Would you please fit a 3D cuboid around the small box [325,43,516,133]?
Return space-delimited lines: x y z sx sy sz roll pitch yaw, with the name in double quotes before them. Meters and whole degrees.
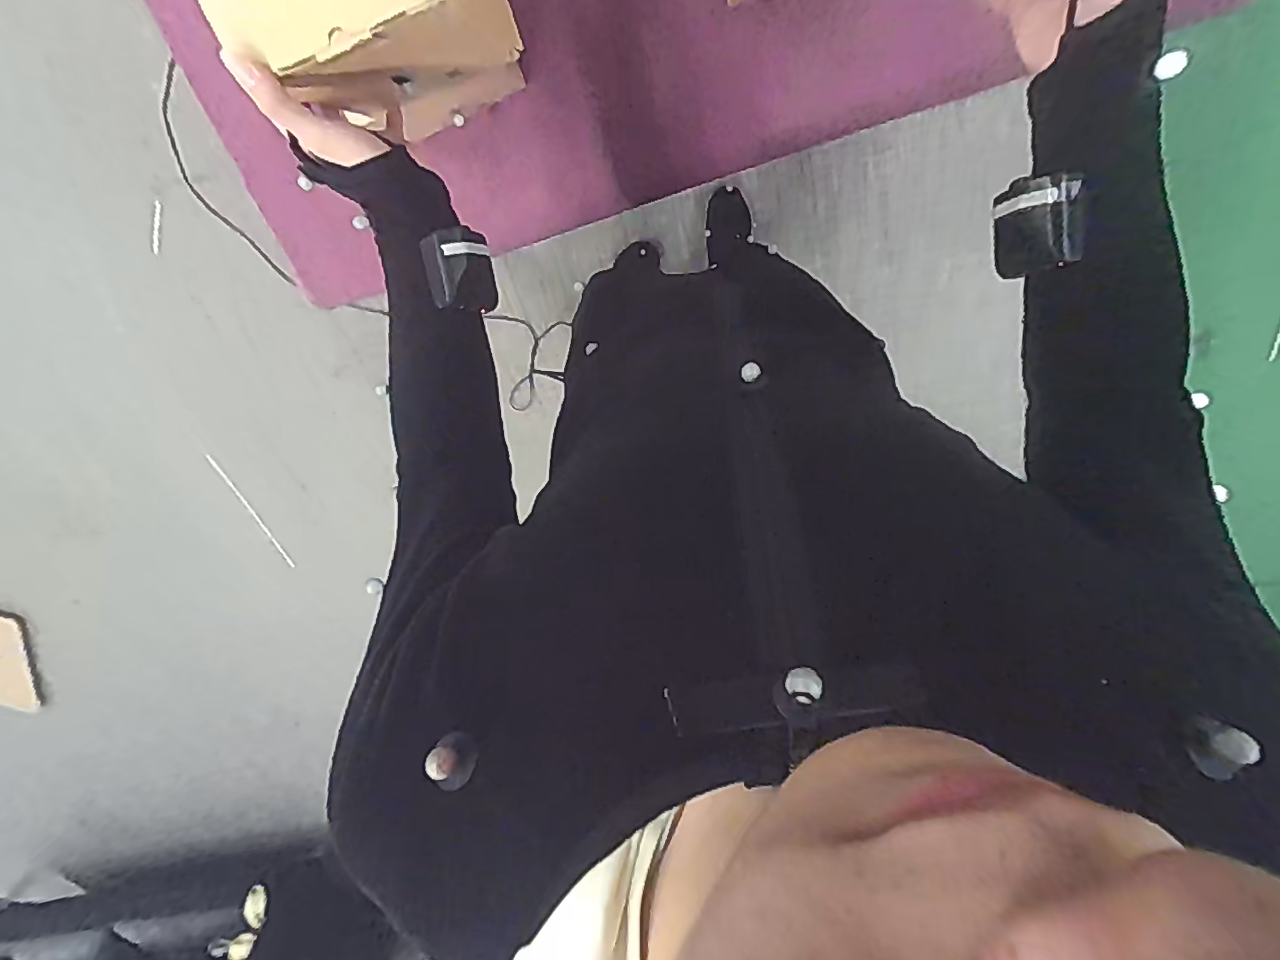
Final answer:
"small box" -0.253 -0.496 0.569 0.168 0.176 0.179 -18 117 12

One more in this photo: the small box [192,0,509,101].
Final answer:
"small box" -0.217 -0.404 0.384 0.168 0.176 0.179 -12 118 12
